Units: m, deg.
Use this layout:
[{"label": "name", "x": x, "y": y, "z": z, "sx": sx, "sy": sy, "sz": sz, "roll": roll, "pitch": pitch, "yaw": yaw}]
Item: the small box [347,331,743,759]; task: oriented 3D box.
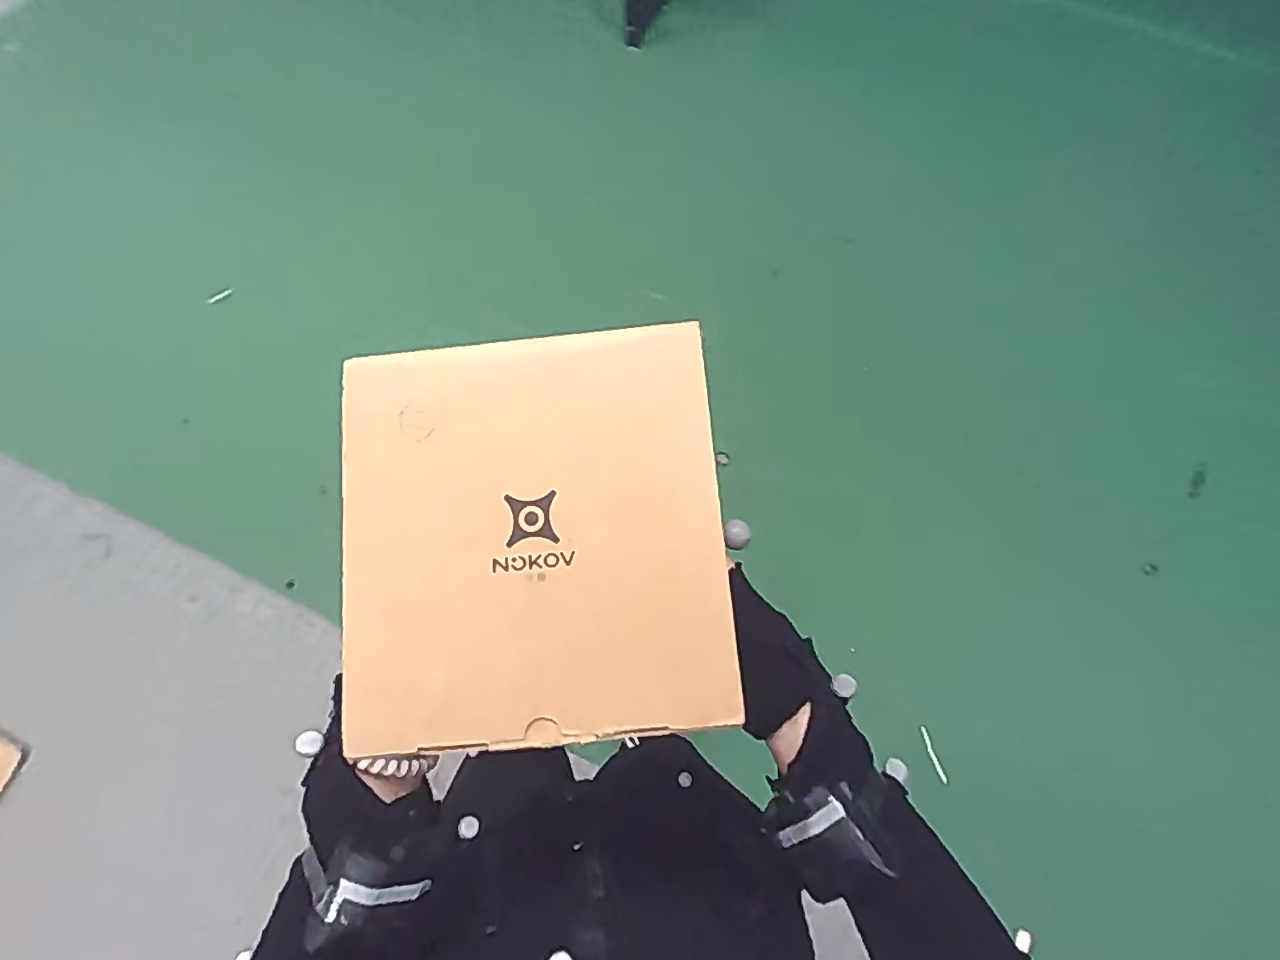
[{"label": "small box", "x": -0.044, "y": 0.036, "z": 0.315, "sx": 0.168, "sy": 0.176, "sz": 0.179, "roll": -6, "pitch": 81, "yaw": 1}]
